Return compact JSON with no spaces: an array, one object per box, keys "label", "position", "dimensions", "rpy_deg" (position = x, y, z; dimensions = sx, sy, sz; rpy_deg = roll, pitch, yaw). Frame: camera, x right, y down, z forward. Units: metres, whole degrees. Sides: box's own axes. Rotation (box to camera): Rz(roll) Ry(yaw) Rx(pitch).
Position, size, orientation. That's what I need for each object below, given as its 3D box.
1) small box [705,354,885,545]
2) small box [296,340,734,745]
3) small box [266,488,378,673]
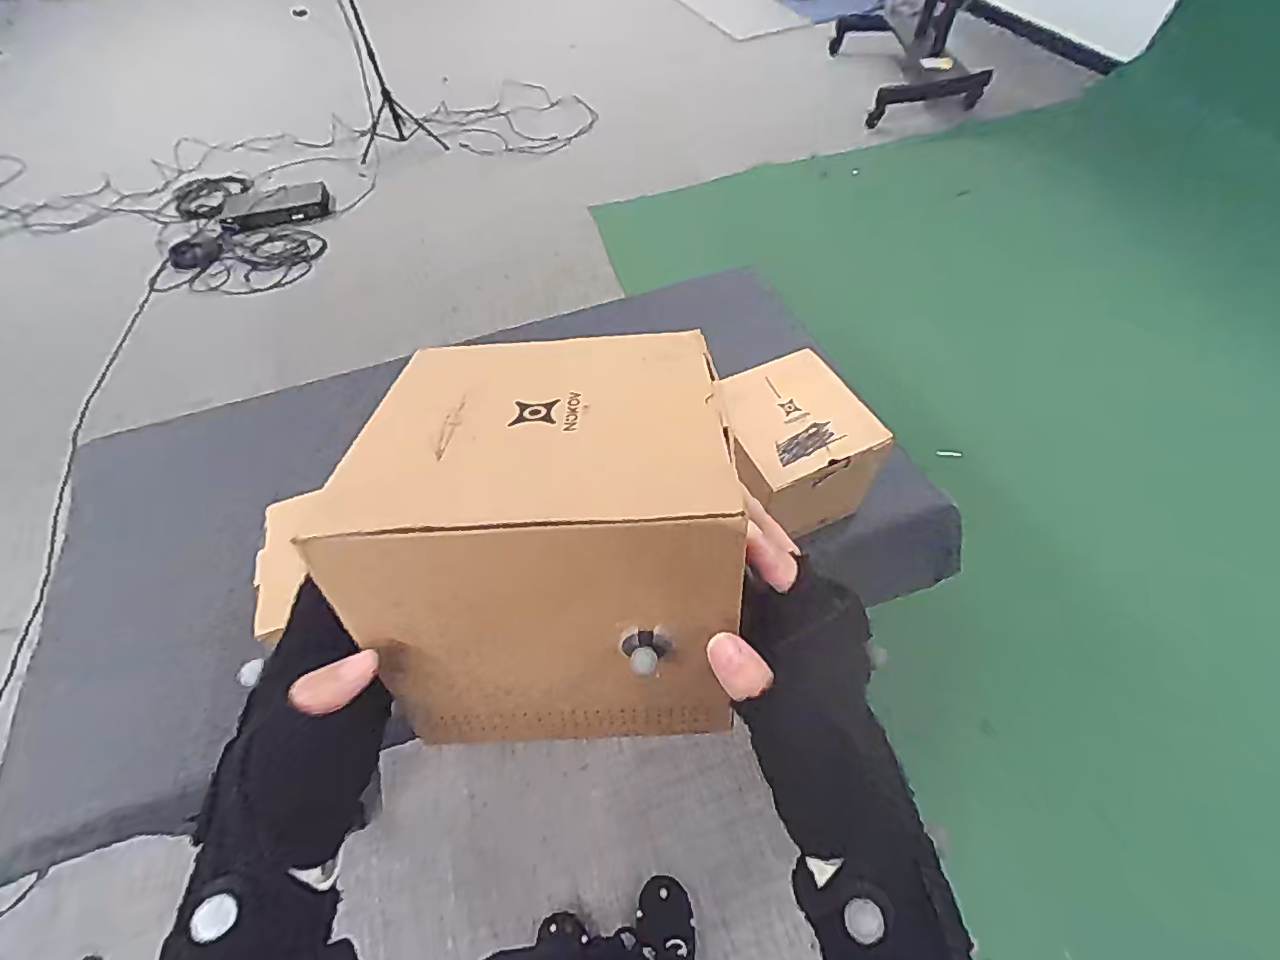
[{"label":"small box","position":[0.189,-0.032,0.733],"dimensions":[0.168,0.176,0.179],"rpy_deg":[-21,56,-11]},{"label":"small box","position":[-0.045,0.035,0.322],"dimensions":[0.179,0.176,0.168],"rpy_deg":[-5,38,2]},{"label":"small box","position":[-0.310,0.114,0.660],"dimensions":[0.179,0.176,0.168],"rpy_deg":[-16,55,-8]}]
